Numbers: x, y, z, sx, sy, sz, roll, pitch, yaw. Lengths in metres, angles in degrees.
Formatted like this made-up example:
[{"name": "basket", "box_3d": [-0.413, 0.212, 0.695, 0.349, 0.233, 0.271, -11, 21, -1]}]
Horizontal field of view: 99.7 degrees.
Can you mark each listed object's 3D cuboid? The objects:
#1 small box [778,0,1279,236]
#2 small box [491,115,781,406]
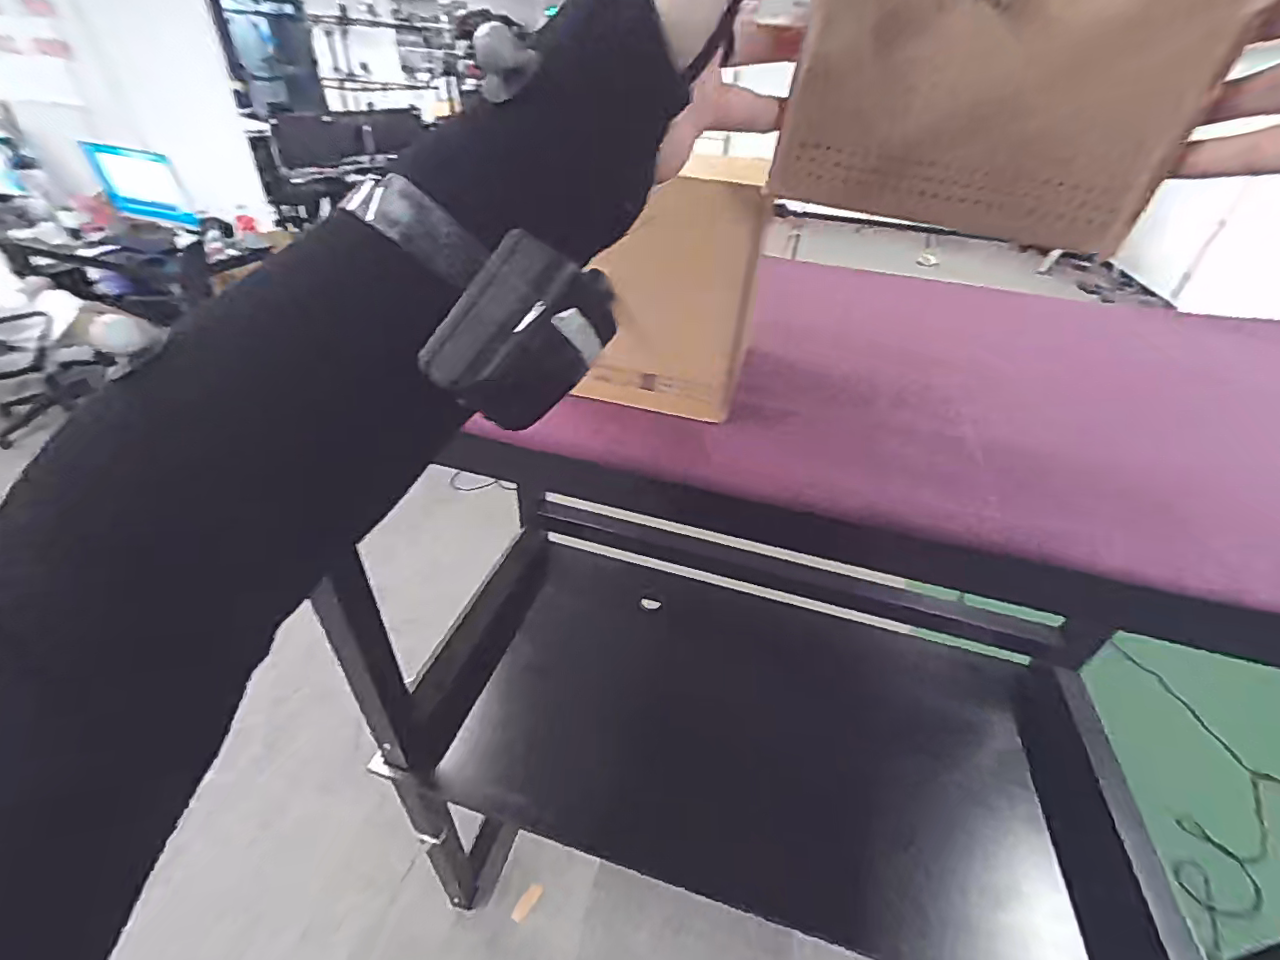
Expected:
[{"name": "small box", "box_3d": [0.179, -0.234, 0.269, 0.179, 0.176, 0.168, 17, 39, 10]}, {"name": "small box", "box_3d": [0.004, -0.176, 0.426, 0.168, 0.176, 0.179, 14, 37, 10]}]
